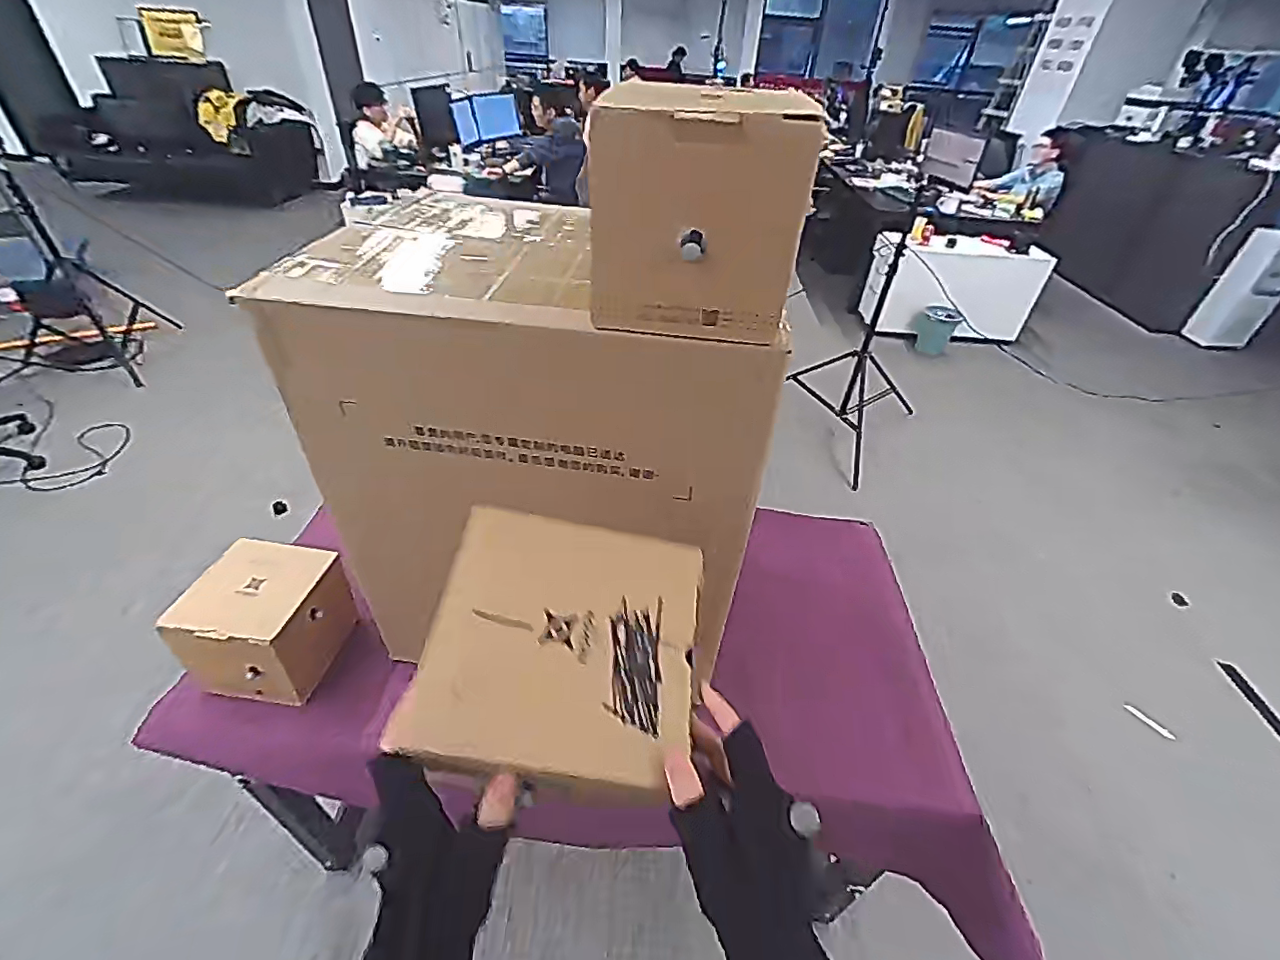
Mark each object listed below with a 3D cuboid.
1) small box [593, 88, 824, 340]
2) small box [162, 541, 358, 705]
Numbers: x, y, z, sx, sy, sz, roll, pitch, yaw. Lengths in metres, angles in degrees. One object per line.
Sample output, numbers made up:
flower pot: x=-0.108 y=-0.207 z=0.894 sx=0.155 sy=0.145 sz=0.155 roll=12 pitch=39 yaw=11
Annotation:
small box: x=0.056 y=-0.242 z=0.492 sx=0.168 sy=0.176 sz=0.179 roll=6 pitch=41 yaw=4
small box: x=-0.573 y=0.225 z=0.849 sx=0.168 sy=0.176 sz=0.179 roll=9 pitch=36 yaw=1
